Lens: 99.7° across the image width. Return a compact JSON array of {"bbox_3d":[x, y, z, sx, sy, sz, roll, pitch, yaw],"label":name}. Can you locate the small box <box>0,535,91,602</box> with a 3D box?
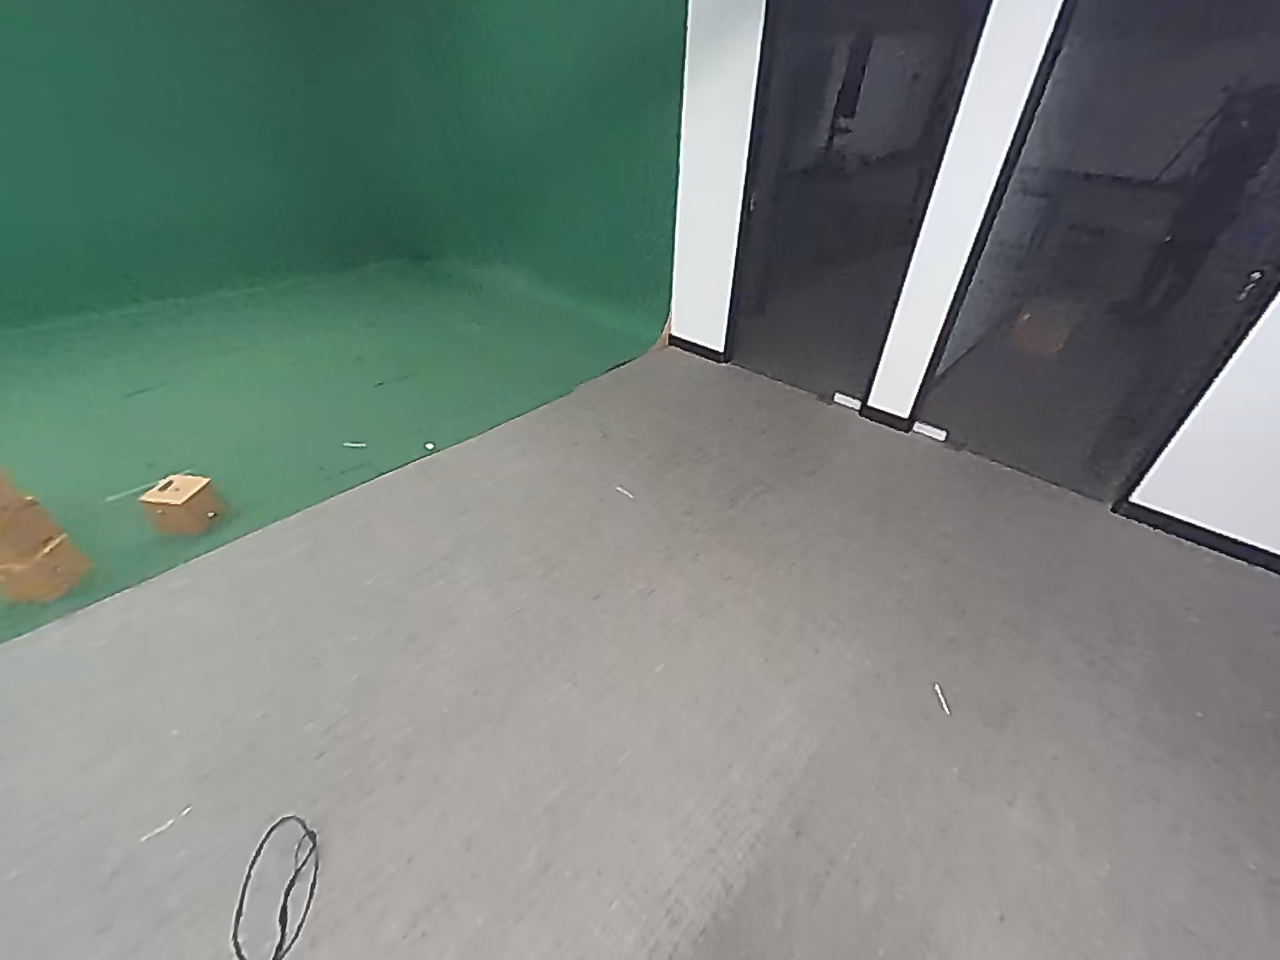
[{"bbox_3d":[-2.108,0.311,1.894,0.179,0.176,0.168,0,38,-2],"label":"small box"}]

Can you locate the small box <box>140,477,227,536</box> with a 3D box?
[{"bbox_3d":[-1.823,0.108,2.169,0.179,0.176,0.168,5,37,3],"label":"small box"}]

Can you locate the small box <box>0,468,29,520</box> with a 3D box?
[{"bbox_3d":[-2.120,0.045,1.700,0.179,0.176,0.168,12,39,13],"label":"small box"}]
